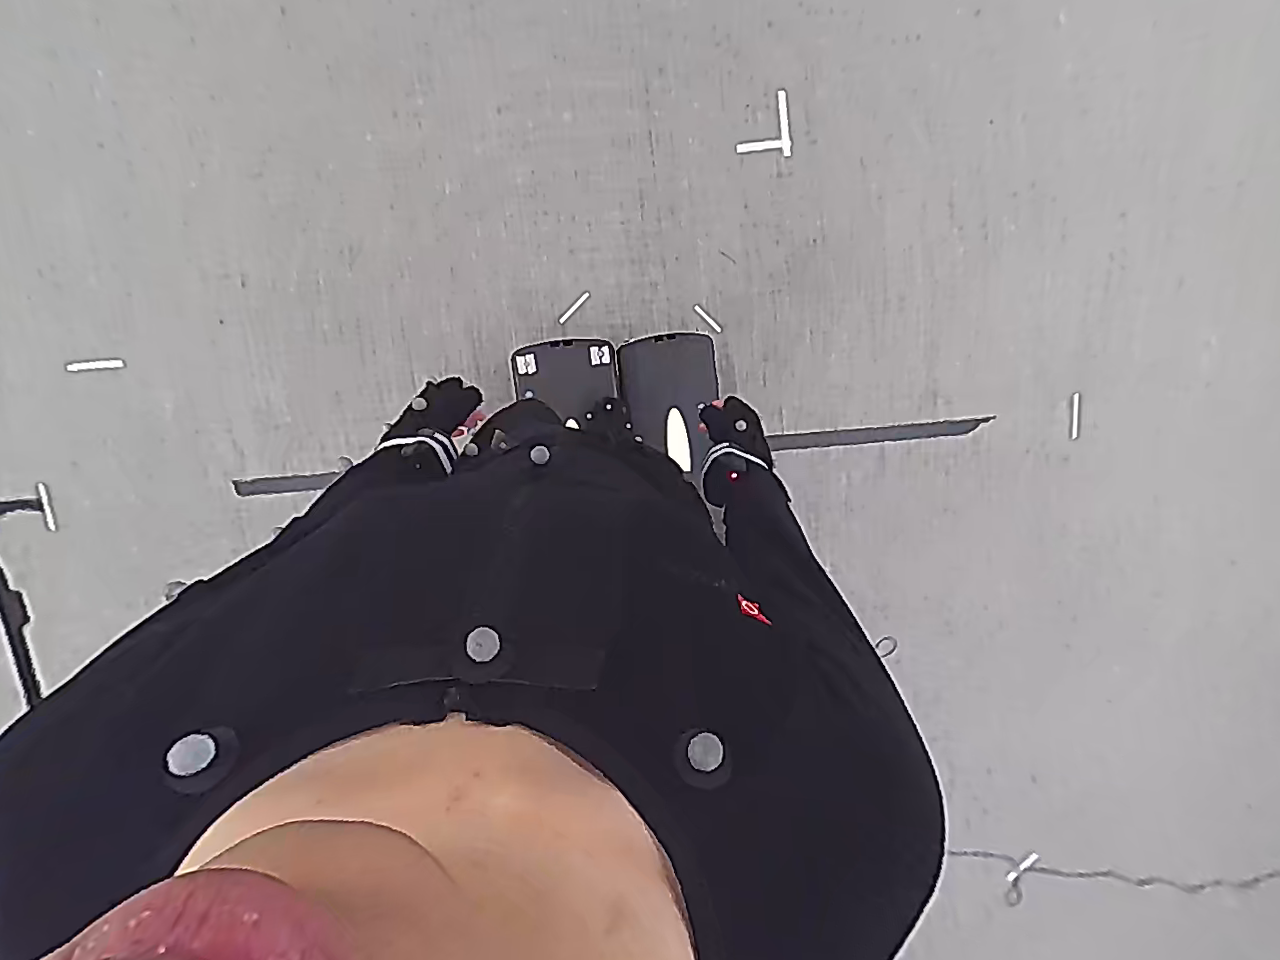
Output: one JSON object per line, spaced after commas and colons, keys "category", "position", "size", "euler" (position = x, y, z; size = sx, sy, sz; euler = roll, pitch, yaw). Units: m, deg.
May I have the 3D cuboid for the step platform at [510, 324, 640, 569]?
{"category": "step platform", "position": [-0.179, -0.091, 1.549], "size": [0.286, 0.204, 0.684], "euler": [-8, 97, -2]}
